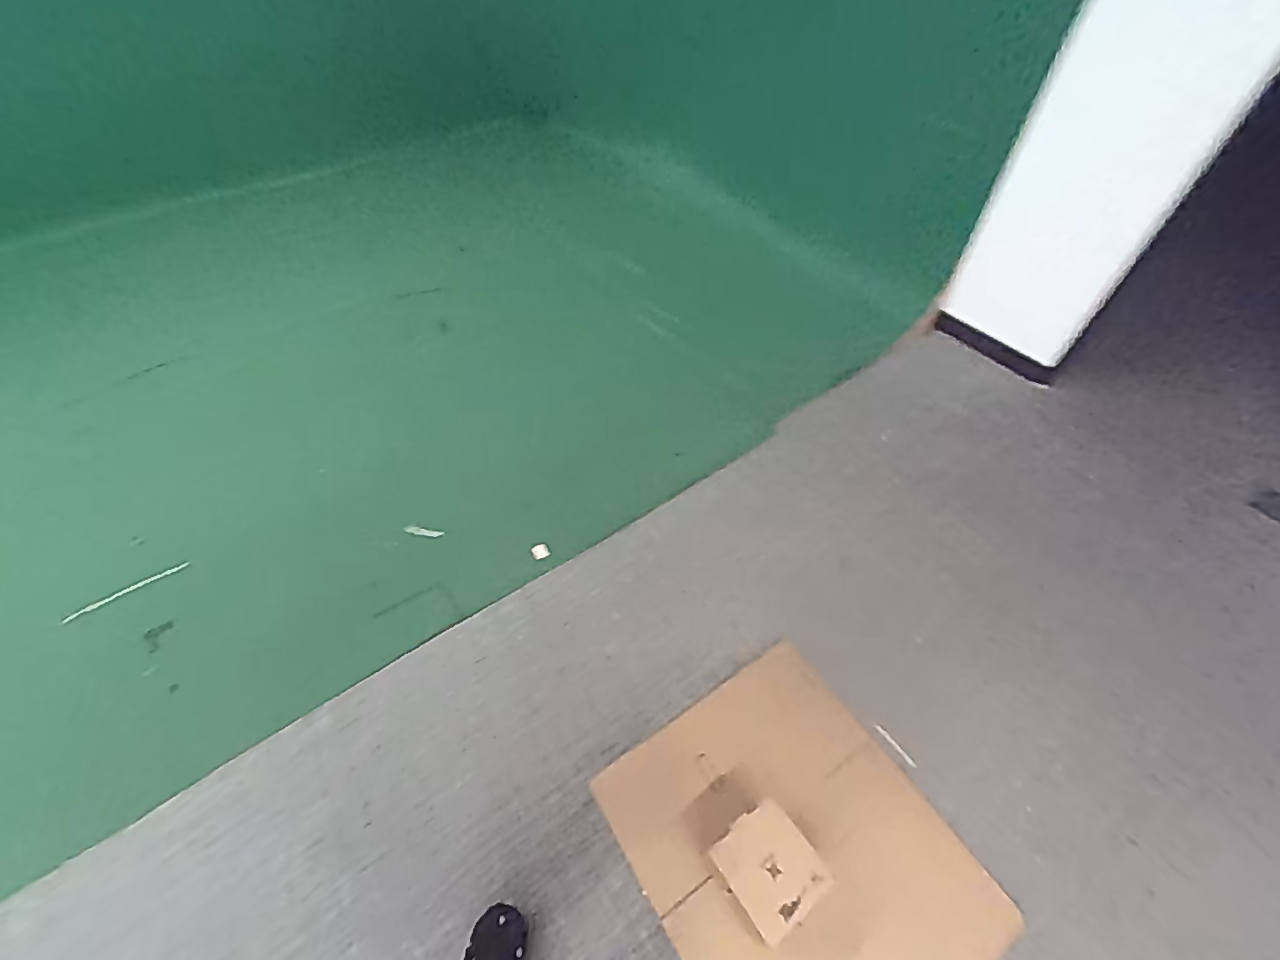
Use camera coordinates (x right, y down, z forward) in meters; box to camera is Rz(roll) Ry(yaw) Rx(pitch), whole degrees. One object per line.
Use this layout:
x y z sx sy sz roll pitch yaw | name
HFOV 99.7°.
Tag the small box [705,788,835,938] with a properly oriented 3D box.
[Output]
0.244 0.755 1.065 0.168 0.176 0.179 -31 56 -23 | small box
